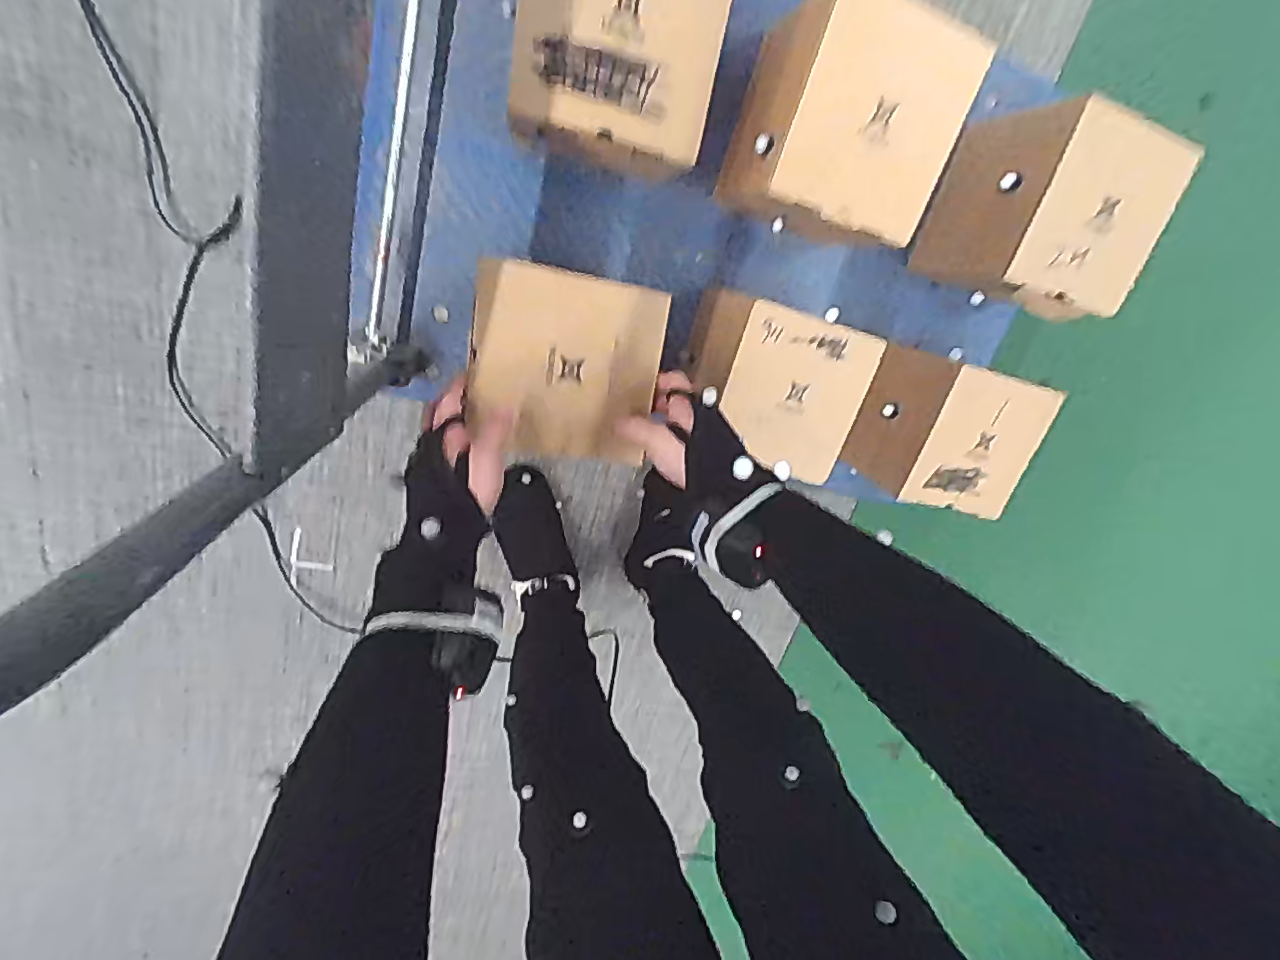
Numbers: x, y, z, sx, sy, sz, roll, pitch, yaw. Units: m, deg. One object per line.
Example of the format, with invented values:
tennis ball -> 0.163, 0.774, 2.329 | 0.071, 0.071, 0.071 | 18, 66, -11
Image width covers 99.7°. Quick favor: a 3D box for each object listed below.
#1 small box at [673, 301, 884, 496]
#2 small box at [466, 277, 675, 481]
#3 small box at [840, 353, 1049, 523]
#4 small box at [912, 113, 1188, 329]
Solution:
small box -> 0.152, -0.106, 0.667 | 0.168, 0.176, 0.179 | 12, 110, -18
small box -> -0.082, -0.105, 0.570 | 0.179, 0.176, 0.168 | 5, 104, -16
small box -> 0.402, -0.064, 0.758 | 0.168, 0.176, 0.179 | 10, 109, -17
small box -> 0.471, -0.299, 0.653 | 0.168, 0.176, 0.179 | 11, 110, -15
